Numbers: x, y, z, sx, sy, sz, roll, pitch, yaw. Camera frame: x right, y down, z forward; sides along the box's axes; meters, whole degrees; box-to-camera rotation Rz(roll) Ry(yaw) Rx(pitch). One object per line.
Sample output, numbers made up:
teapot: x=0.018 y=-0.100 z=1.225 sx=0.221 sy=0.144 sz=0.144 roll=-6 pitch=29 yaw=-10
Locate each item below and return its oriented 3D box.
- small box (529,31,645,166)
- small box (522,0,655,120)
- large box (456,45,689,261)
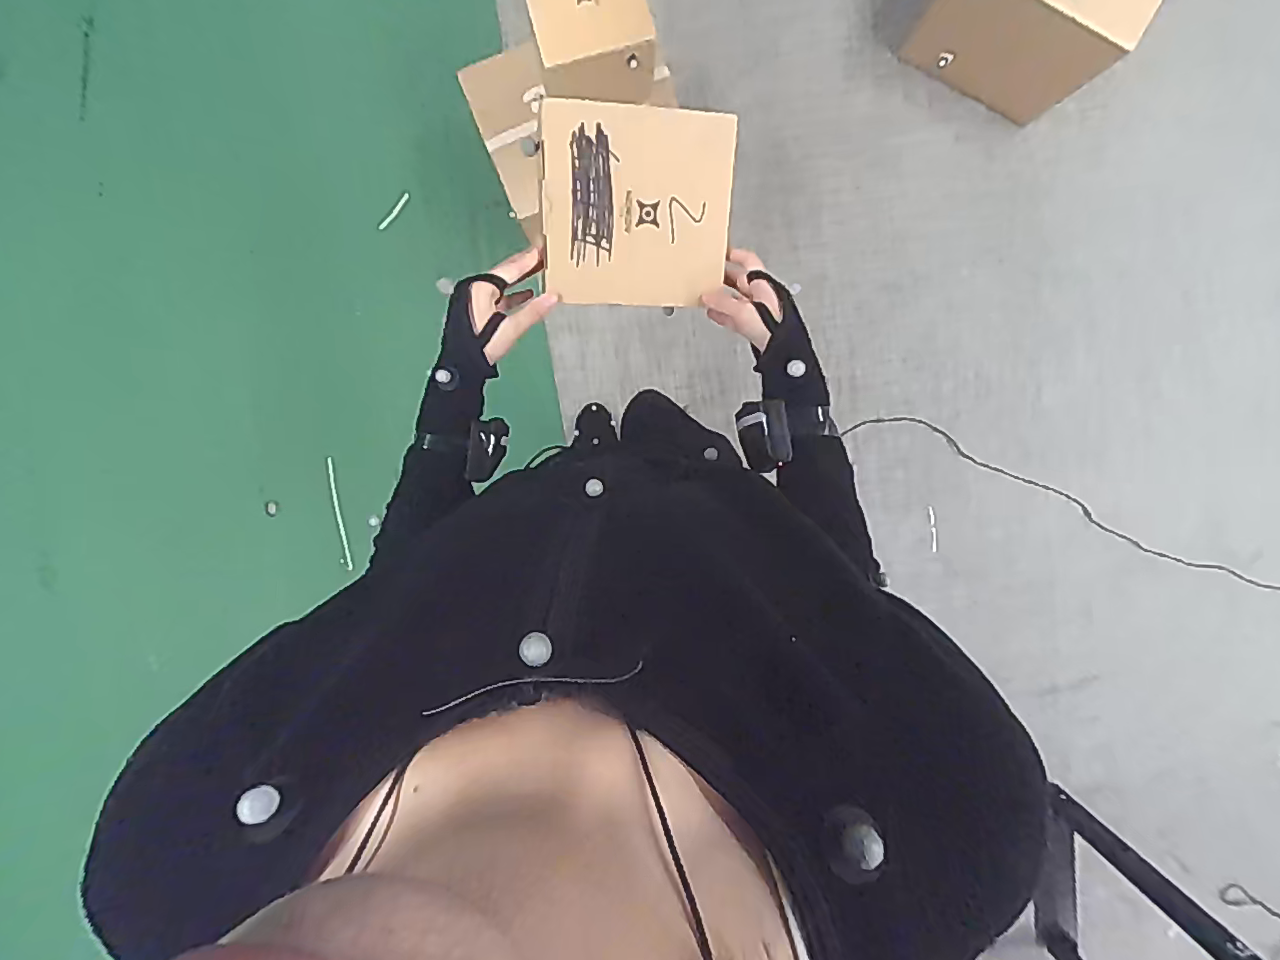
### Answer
small box: x=-0.093 y=-0.722 z=1.017 sx=0.168 sy=0.176 sz=0.179 roll=-17 pitch=98 yaw=-1
small box: x=-0.084 y=-0.710 z=0.855 sx=0.179 sy=0.176 sz=0.168 roll=-16 pitch=98 yaw=-1
large box: x=-0.139 y=-0.770 z=1.257 sx=0.408 sy=0.320 sz=0.320 roll=-22 pitch=96 yaw=2
